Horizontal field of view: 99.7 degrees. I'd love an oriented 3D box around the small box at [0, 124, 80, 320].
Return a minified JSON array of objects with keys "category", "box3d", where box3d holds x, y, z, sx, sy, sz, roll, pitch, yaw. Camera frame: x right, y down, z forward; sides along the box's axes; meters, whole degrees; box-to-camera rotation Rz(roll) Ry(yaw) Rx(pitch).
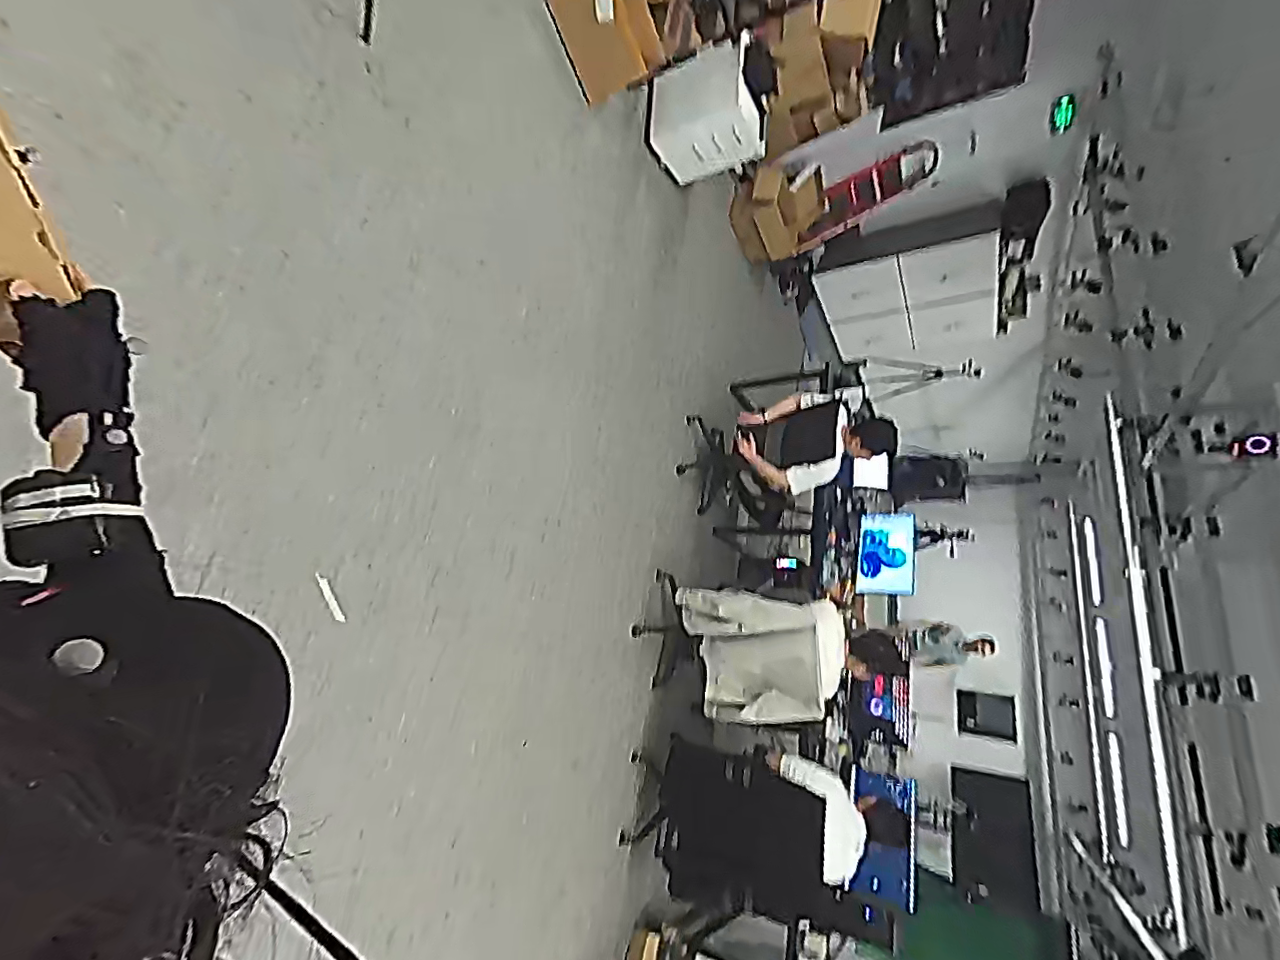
[{"category":"small box","box3d":[-0.579,-0.227,0.399,0.179,0.176,0.168,-23,145,-37]}]
